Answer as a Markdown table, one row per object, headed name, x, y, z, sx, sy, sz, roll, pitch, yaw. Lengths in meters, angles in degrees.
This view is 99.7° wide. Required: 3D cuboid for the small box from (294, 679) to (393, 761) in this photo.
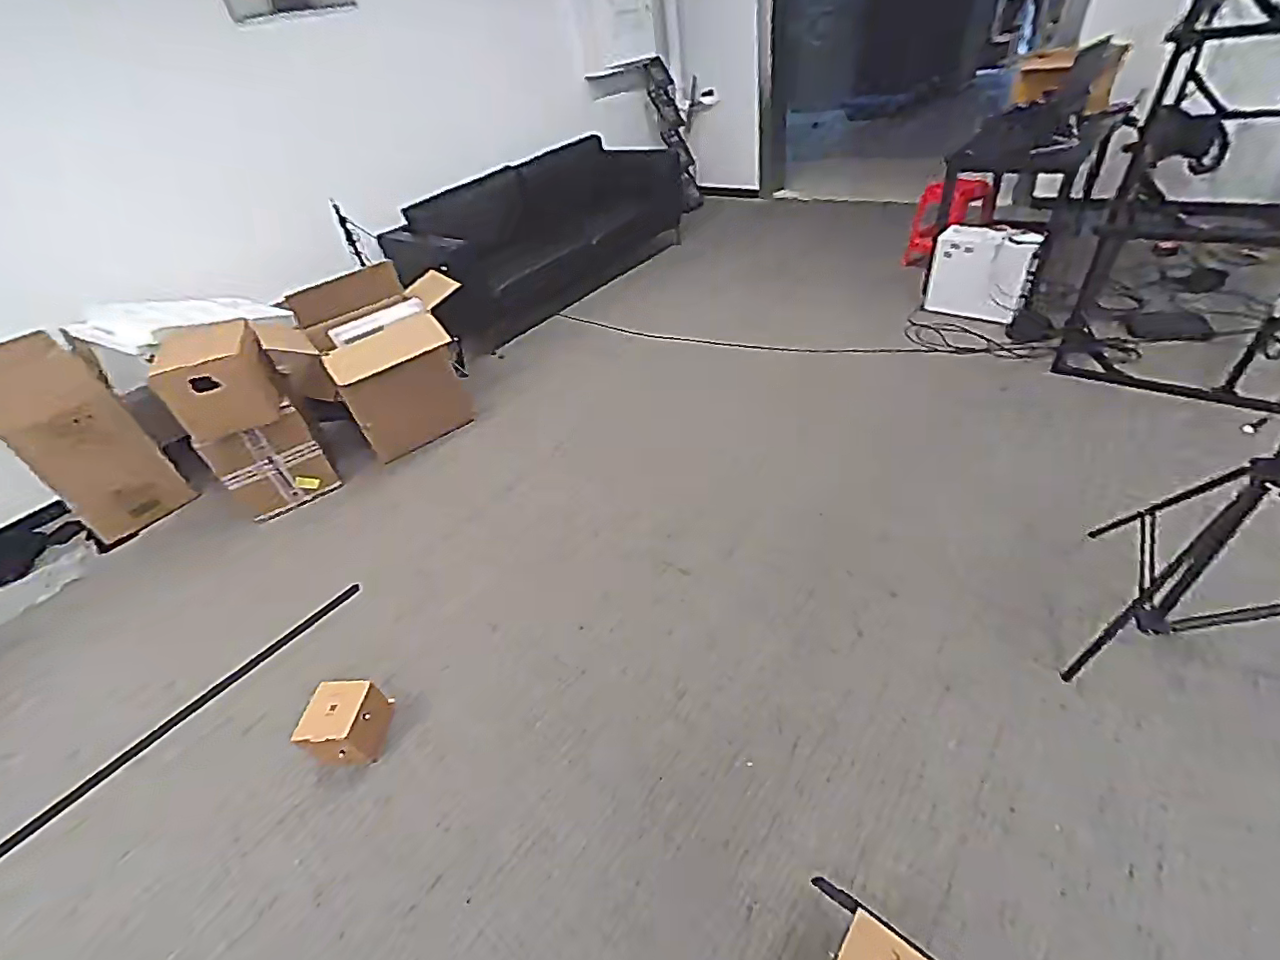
| name | x | y | z | sx | sy | sz | roll | pitch | yaw |
| --- | --- | --- | --- | --- | --- | --- | --- | --- | --- |
| small box | -0.863 | 0.713 | 1.598 | 0.168 | 0.176 | 0.179 | -4 | 39 | 6 |
